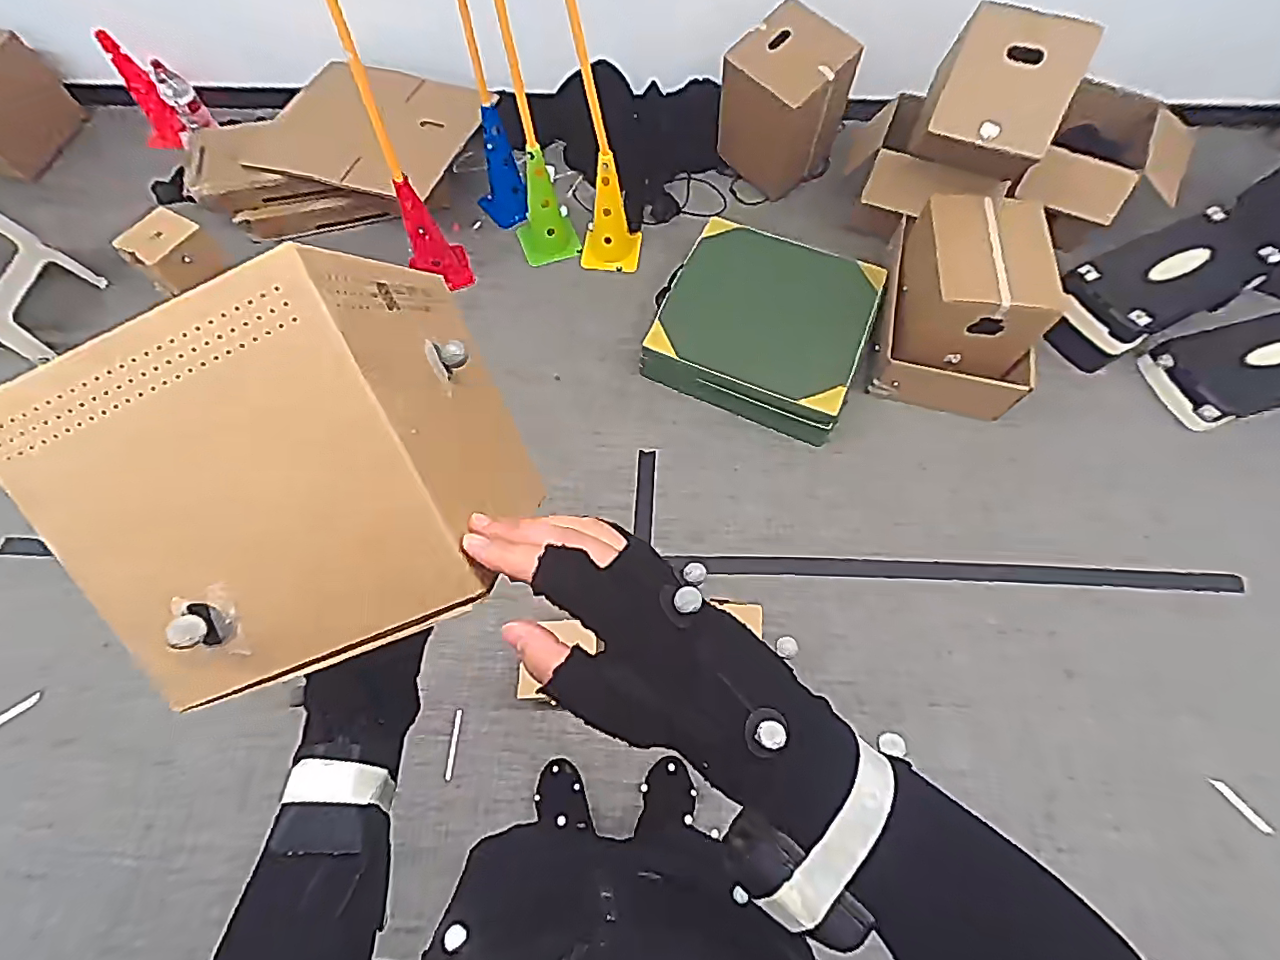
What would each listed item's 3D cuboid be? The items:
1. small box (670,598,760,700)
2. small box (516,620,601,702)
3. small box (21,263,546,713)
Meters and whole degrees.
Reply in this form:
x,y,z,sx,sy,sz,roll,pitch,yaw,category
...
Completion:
x,y,z,sx,sy,sz,roll,pitch,yaw,category
0.153,0.361,1.141,0.168,0.176,0.179,5,67,3,small box
-0.186,0.433,1.284,0.179,0.176,0.168,-2,66,-2,small box
-0.182,-0.005,0.321,0.179,0.168,0.176,-22,104,8,small box
